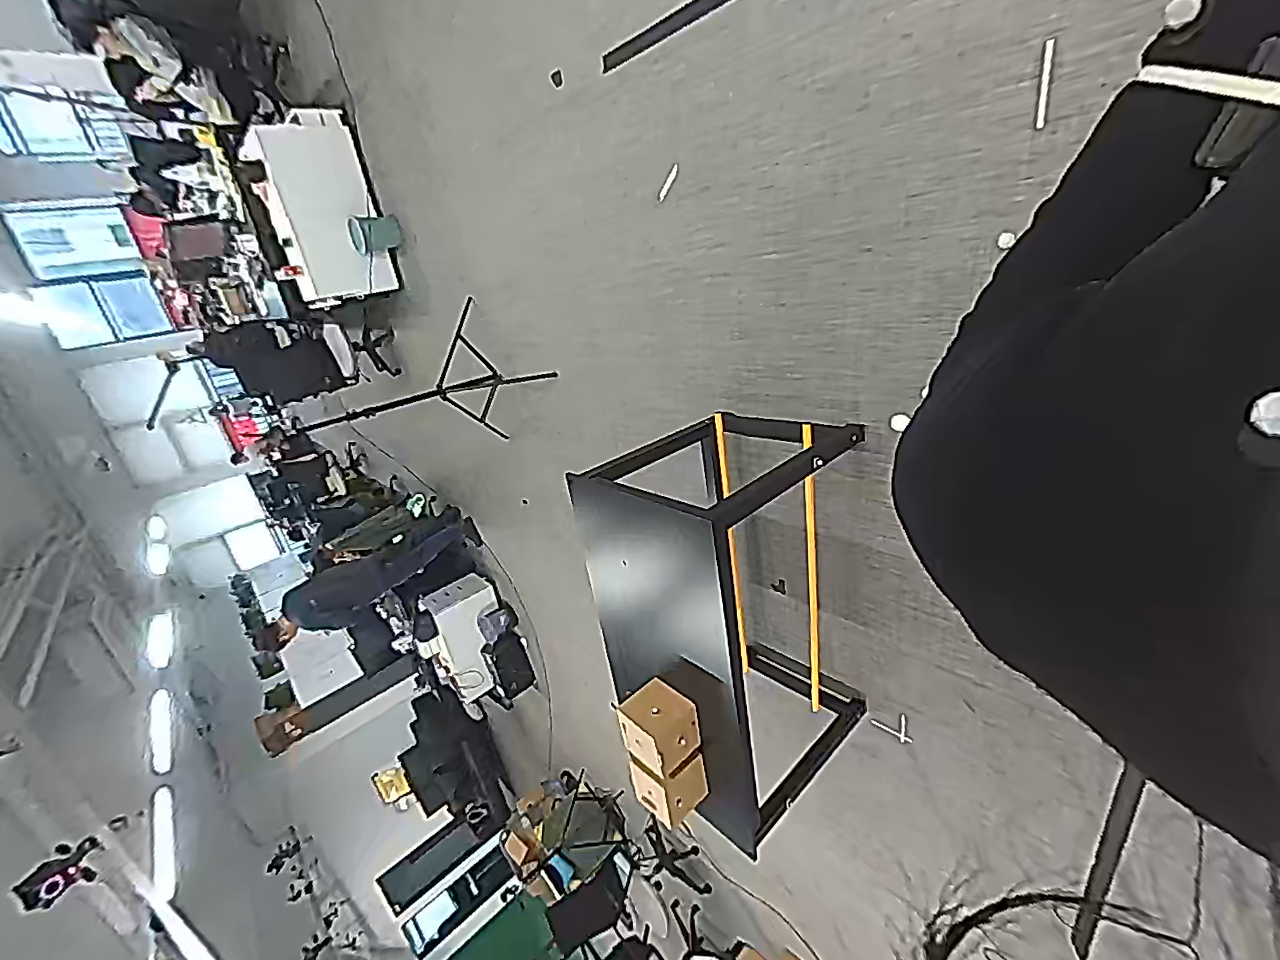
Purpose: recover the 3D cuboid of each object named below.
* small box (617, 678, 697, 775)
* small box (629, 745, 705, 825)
[{"bbox_3d":[0.059,0.737,1.641,0.179,0.176,0.168,17,124,46],"label":"small box"},{"bbox_3d":[0.092,0.934,1.721,0.168,0.176,0.179,14,121,48],"label":"small box"}]
